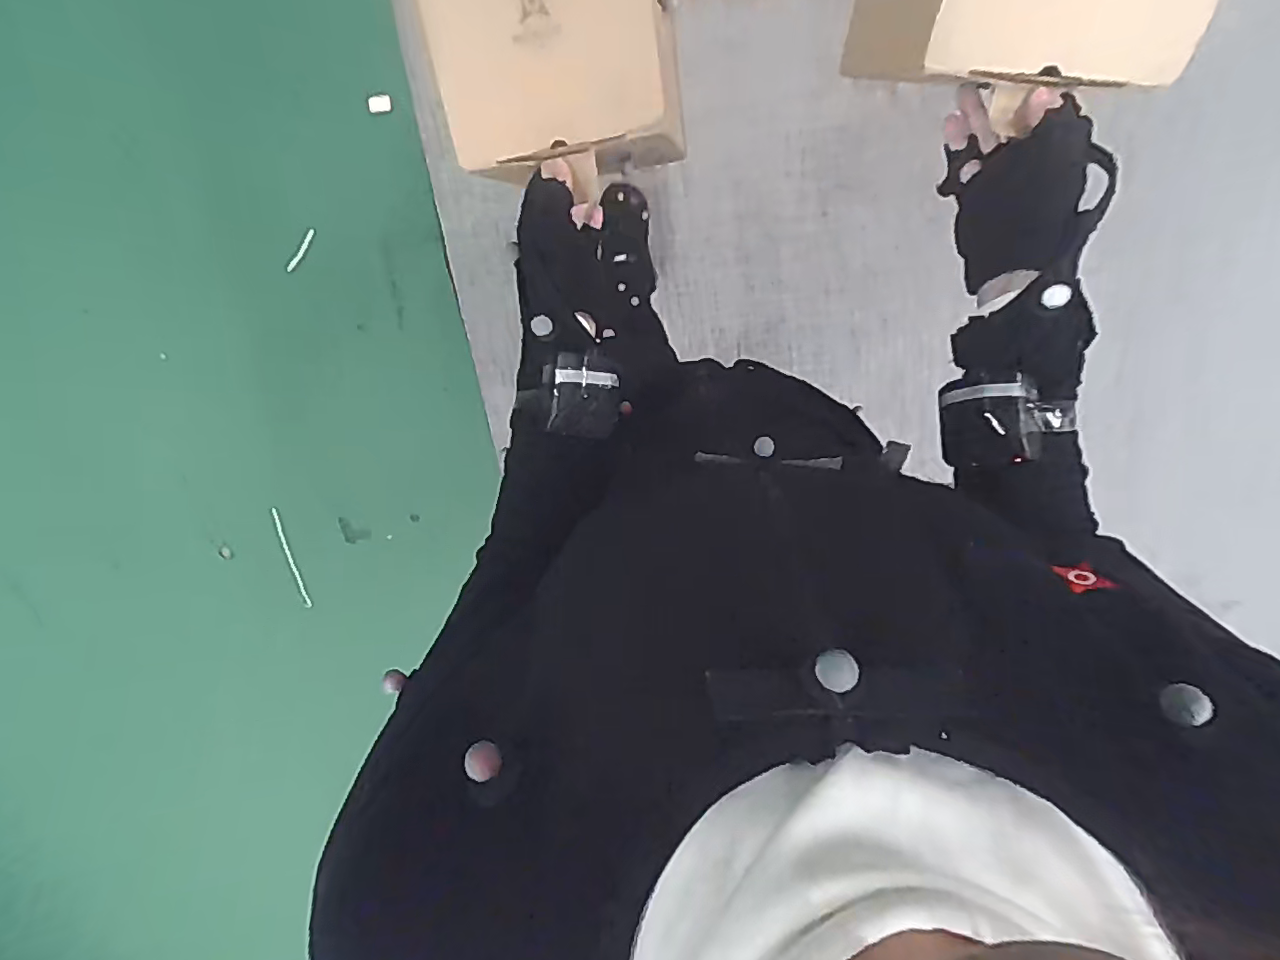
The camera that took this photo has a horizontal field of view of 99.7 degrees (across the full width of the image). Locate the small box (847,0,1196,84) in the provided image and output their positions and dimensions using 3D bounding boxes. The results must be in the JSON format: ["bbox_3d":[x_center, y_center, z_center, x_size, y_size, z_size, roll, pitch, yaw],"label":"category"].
[{"bbox_3d":[0.259,-0.380,0.361,0.168,0.176,0.179,2,126,-3],"label":"small box"}]
